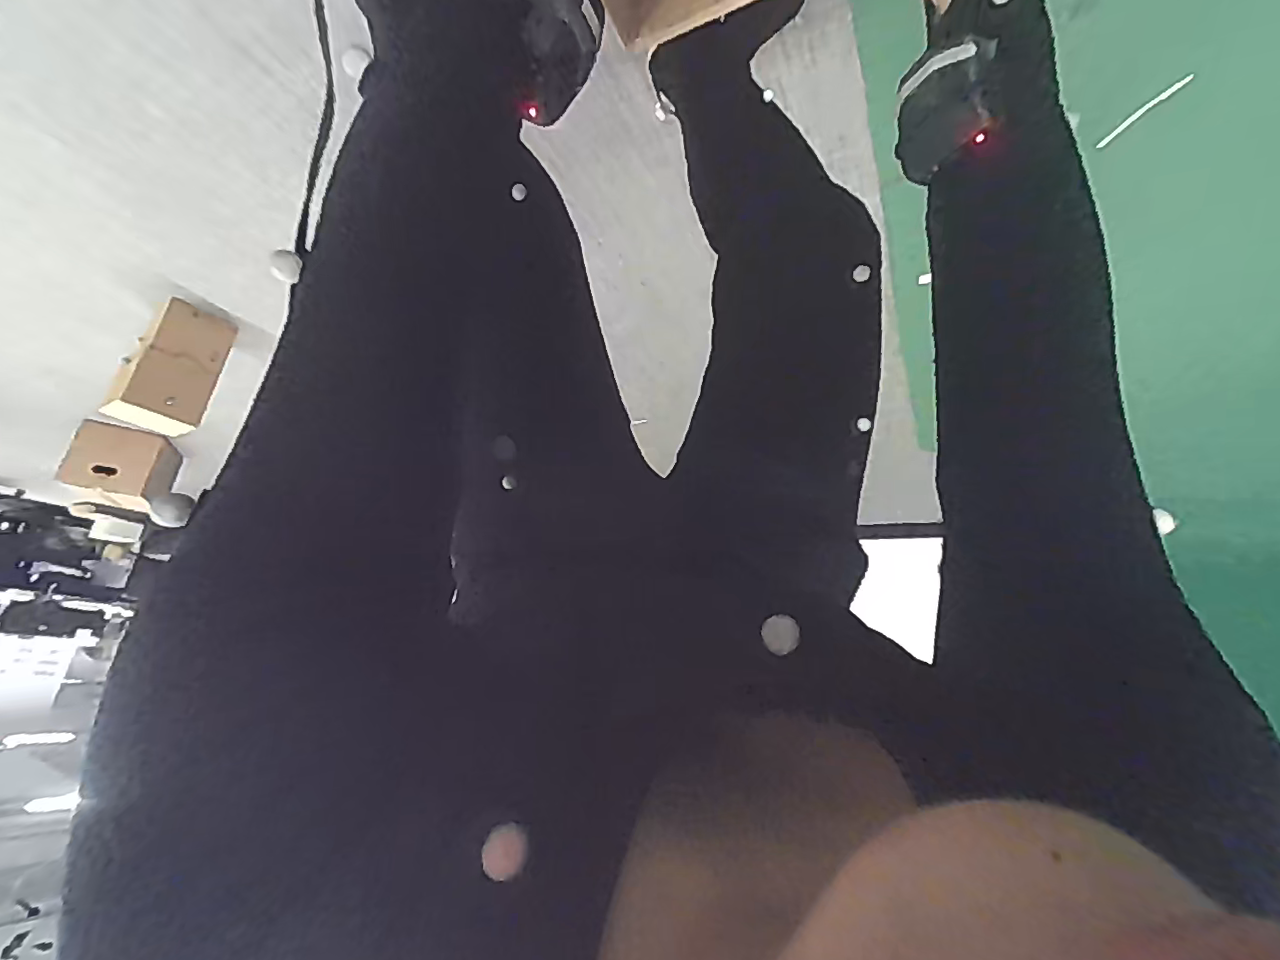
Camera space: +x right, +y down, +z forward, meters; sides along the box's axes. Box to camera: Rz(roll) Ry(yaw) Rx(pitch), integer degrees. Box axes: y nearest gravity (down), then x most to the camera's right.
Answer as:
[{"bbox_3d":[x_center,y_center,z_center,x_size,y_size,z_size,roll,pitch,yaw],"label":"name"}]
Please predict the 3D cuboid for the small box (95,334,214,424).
[{"bbox_3d":[-1.320,-0.272,1.479,0.168,0.176,0.179,-6,157,31],"label":"small box"}]
